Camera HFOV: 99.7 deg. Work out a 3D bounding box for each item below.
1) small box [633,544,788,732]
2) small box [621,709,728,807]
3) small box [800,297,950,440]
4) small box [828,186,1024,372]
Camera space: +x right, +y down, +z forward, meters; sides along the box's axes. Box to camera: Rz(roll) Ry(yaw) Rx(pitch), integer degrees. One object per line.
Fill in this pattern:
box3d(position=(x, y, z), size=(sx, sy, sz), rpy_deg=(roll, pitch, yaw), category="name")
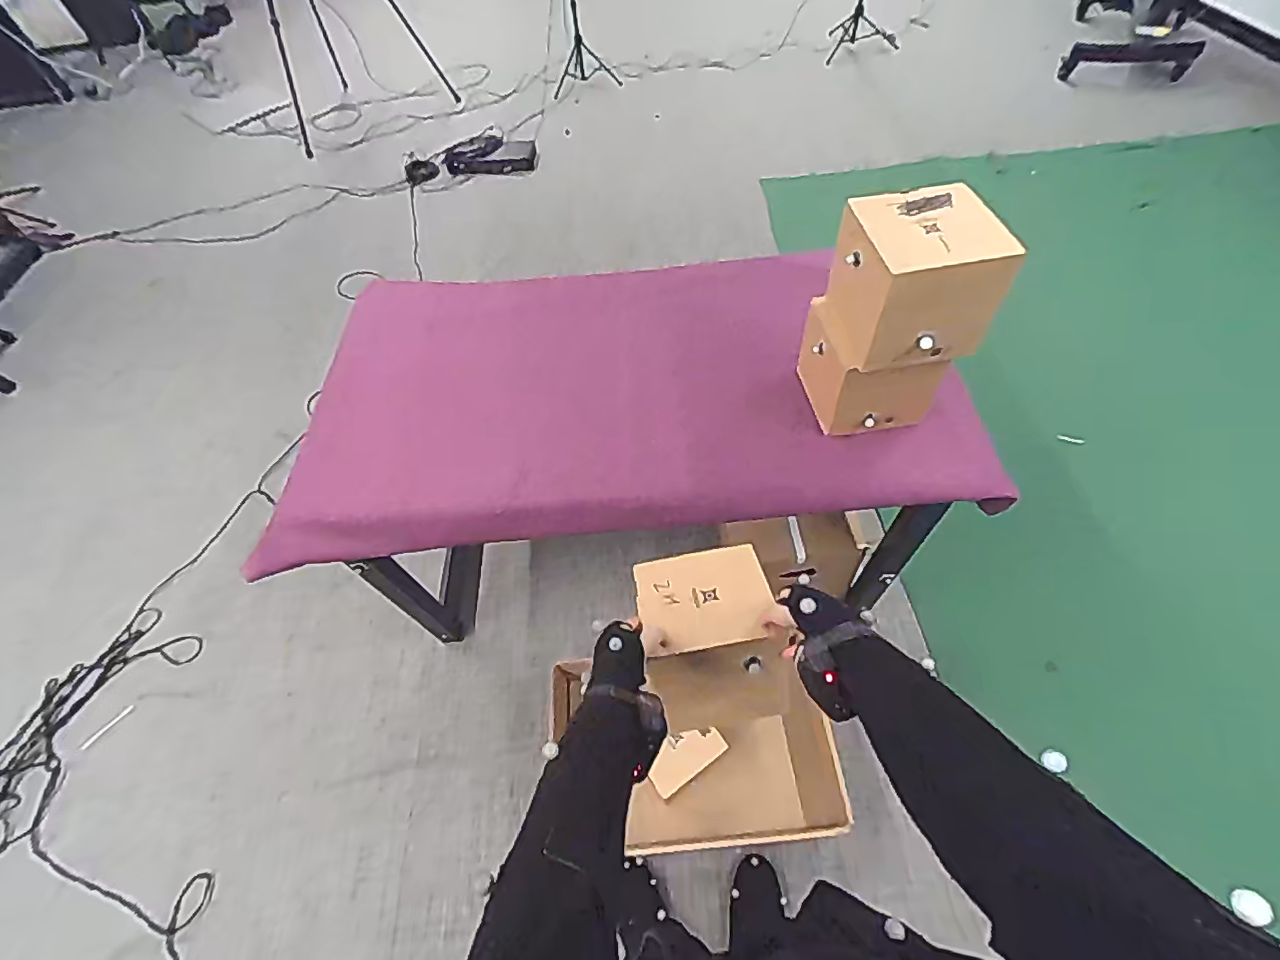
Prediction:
box3d(position=(0.093, 0.216, 0.740), size=(0.179, 0.176, 0.168), rpy_deg=(-11, 34, 1), category="small box")
box3d(position=(0.080, 0.605, 1.213), size=(0.179, 0.176, 0.168), rpy_deg=(-32, 59, -15), category="small box")
box3d(position=(0.377, -0.192, 0.903), size=(0.168, 0.176, 0.179), rpy_deg=(-9, 54, 2), category="small box")
box3d(position=(0.379, -0.278, 0.762), size=(0.168, 0.176, 0.179), rpy_deg=(-9, 54, 2), category="small box")
